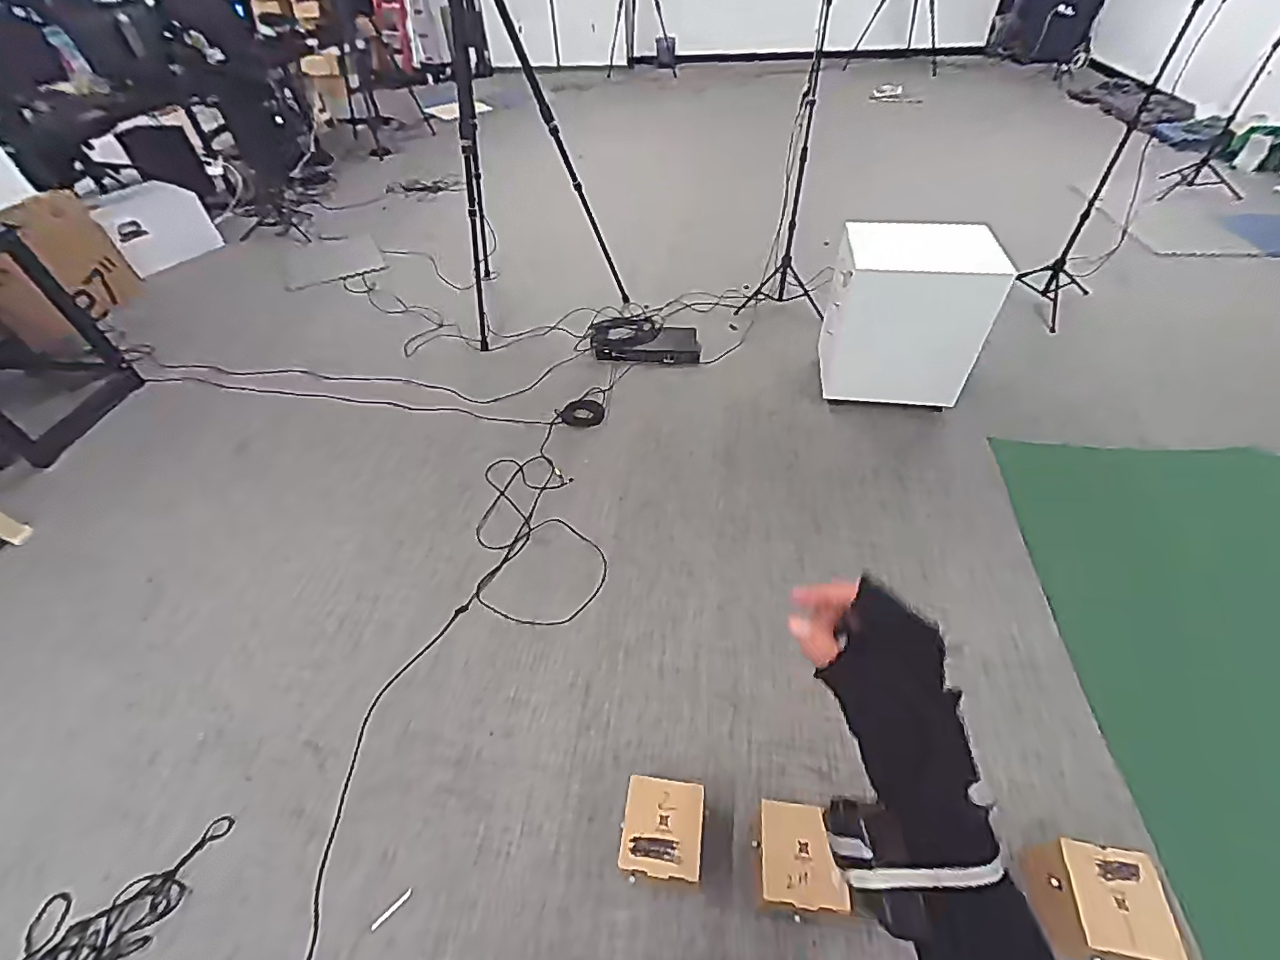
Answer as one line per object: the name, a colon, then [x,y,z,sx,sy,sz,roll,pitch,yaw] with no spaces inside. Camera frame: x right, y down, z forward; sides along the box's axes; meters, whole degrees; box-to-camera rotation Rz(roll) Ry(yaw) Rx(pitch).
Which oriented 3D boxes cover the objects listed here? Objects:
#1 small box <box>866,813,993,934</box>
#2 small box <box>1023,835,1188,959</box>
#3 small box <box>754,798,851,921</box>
small box: [0.585,0.816,1.119,0.168,0.176,0.179,3,47,6]
small box: [0.907,0.841,1.077,0.168,0.176,0.179,6,48,9]
small box: [0.331,0.801,1.141,0.168,0.176,0.179,3,47,7]
